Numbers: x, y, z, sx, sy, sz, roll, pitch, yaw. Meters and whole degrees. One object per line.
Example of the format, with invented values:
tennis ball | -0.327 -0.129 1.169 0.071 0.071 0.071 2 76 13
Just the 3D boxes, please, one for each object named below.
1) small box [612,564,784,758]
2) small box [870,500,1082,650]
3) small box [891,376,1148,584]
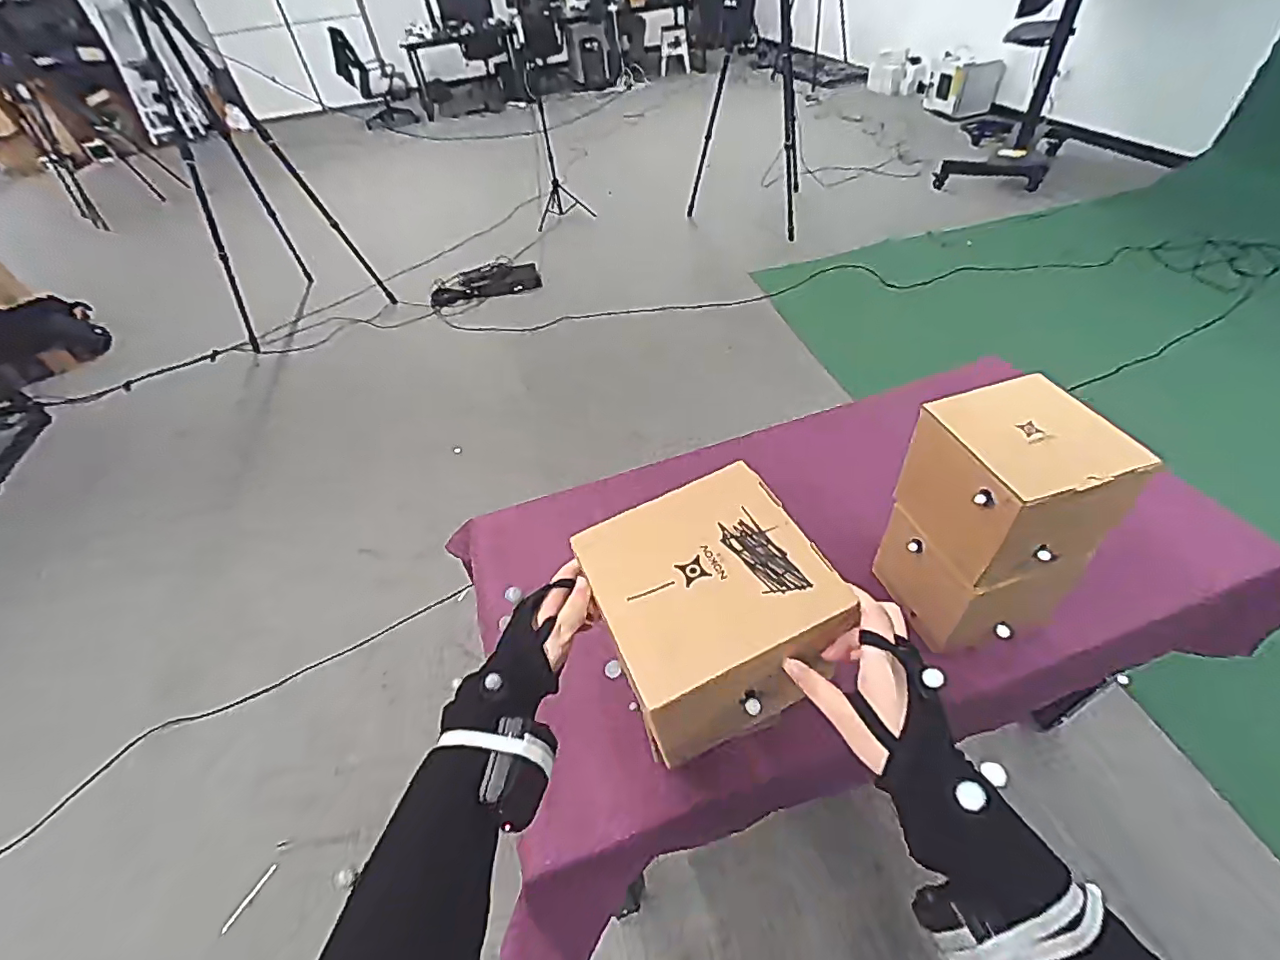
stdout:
small box | 0.074 0.246 0.726 0.179 0.176 0.168 -15 47 -7
small box | 0.470 0.120 0.791 0.179 0.176 0.168 -16 46 -8
small box | 0.449 0.000 0.680 0.168 0.176 0.179 -16 47 -7
